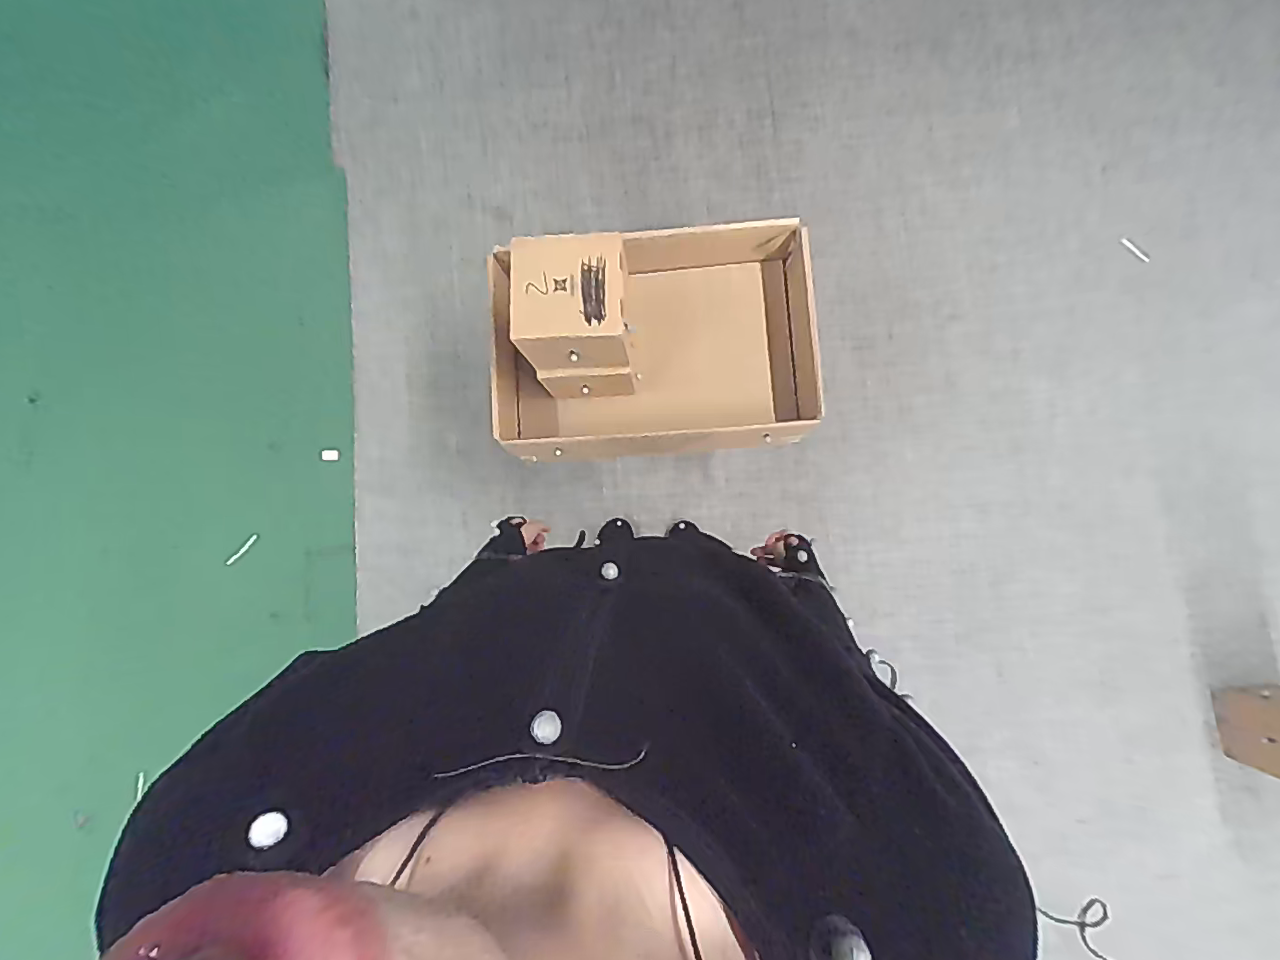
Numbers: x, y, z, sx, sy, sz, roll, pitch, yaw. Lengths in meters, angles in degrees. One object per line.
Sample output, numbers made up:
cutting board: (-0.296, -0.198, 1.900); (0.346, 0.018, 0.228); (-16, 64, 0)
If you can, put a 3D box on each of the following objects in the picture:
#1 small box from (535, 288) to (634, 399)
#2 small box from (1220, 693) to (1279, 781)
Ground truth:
small box: (-0.102, -0.261, 1.066); (0.179, 0.176, 0.168); (-3, 84, 4)
small box: (1.571, 0.623, 1.302); (0.168, 0.176, 0.179); (-6, 84, 3)
